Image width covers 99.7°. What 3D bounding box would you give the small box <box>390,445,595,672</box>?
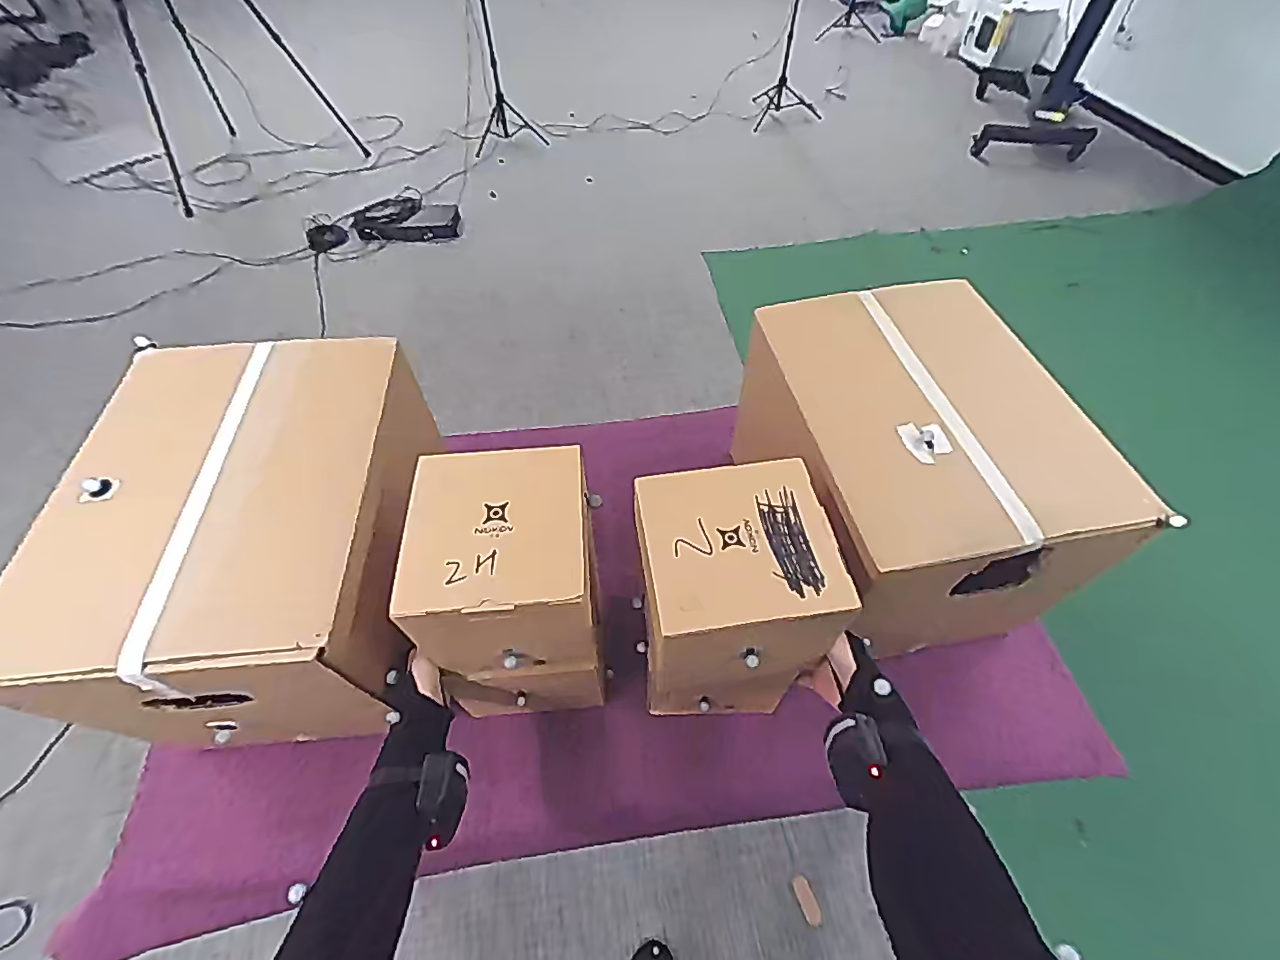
[{"bbox_3d":[-0.136,0.085,0.571,0.168,0.176,0.179,-4,53,-2],"label":"small box"}]

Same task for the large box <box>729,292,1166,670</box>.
[{"bbox_3d":[0.341,0.000,0.757,0.320,0.320,0.408,-10,55,-4],"label":"large box"}]
